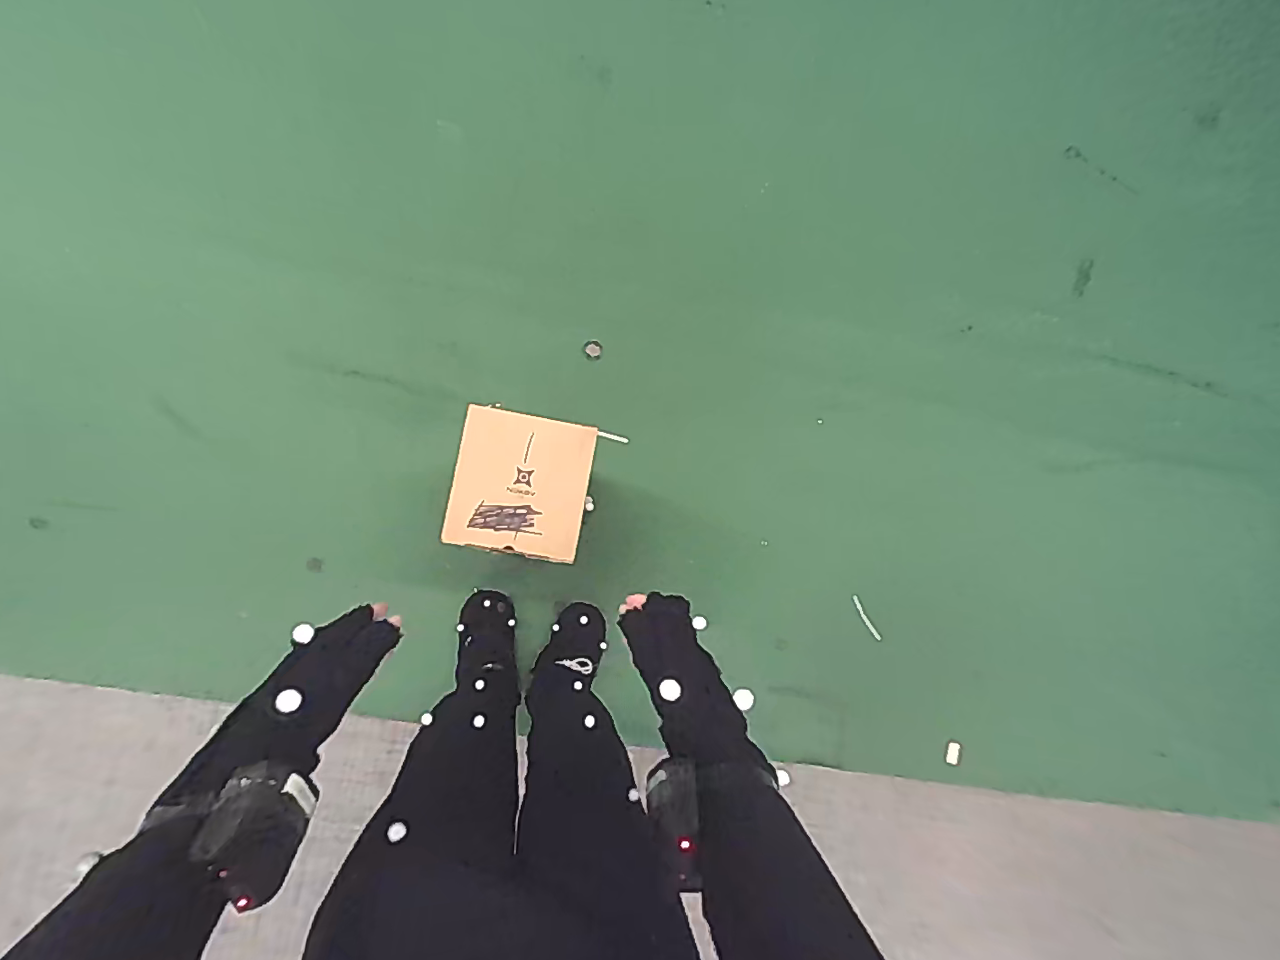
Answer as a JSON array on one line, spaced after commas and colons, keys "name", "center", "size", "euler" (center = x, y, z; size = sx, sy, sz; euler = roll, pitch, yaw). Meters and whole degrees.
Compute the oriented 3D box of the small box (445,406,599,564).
[{"name": "small box", "center": [-0.155, 0.011, 0.757], "size": [0.168, 0.176, 0.179], "euler": [11, 84, -6]}]
